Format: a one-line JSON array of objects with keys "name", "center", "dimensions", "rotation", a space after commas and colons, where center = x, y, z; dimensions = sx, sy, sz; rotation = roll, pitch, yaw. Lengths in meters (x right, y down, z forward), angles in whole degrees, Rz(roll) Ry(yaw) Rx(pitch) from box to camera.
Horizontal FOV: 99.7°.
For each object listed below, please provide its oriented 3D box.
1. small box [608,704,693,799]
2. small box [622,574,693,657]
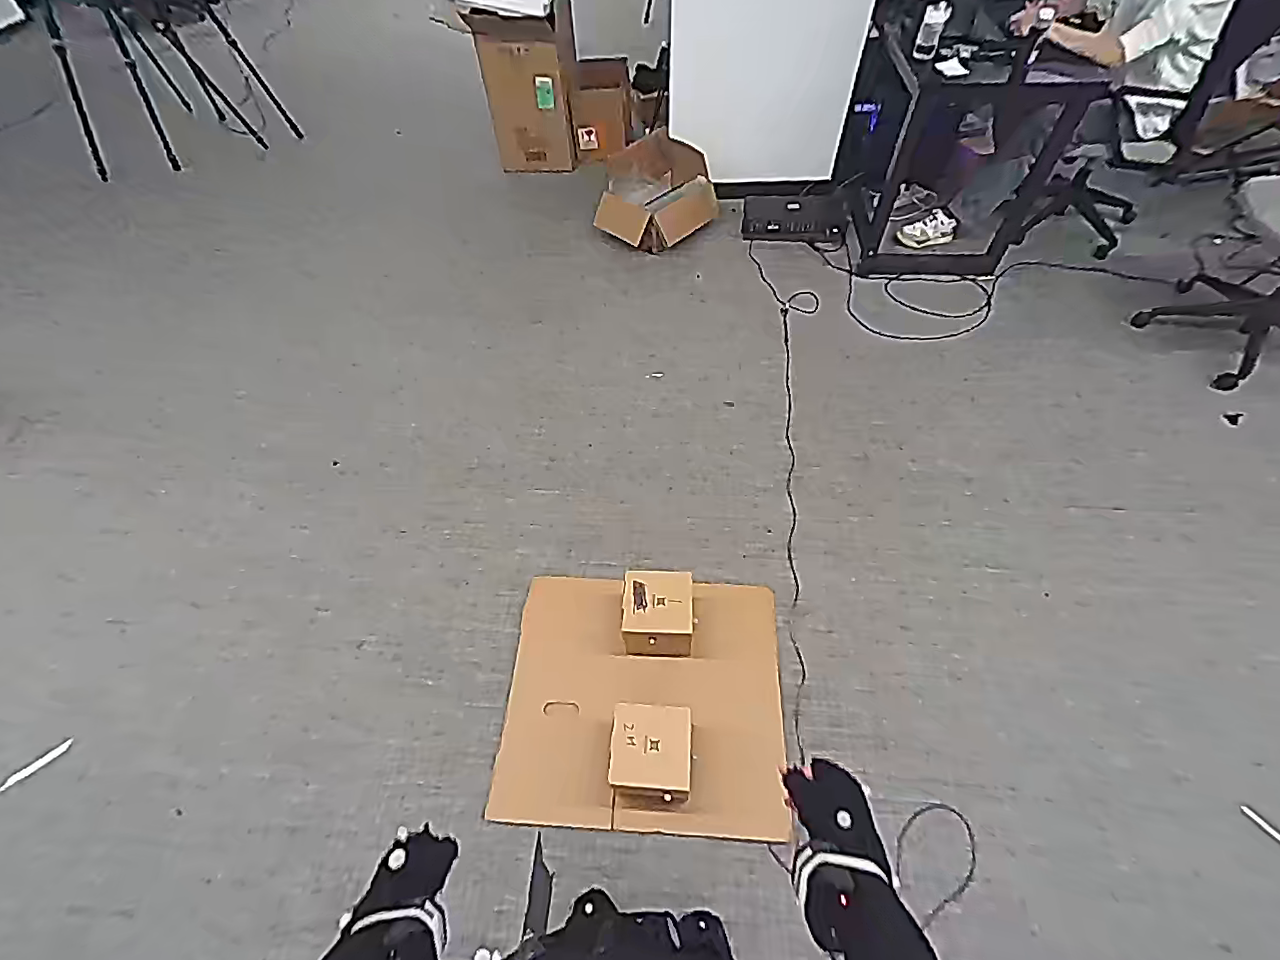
[{"name": "small box", "center": [0.030, 0.626, 1.240], "dimensions": [0.179, 0.176, 0.168], "rotation": [2, 54, 6]}, {"name": "small box", "center": [0.050, 0.360, 1.430], "dimensions": [0.179, 0.176, 0.168], "rotation": [1, 55, 4]}]
